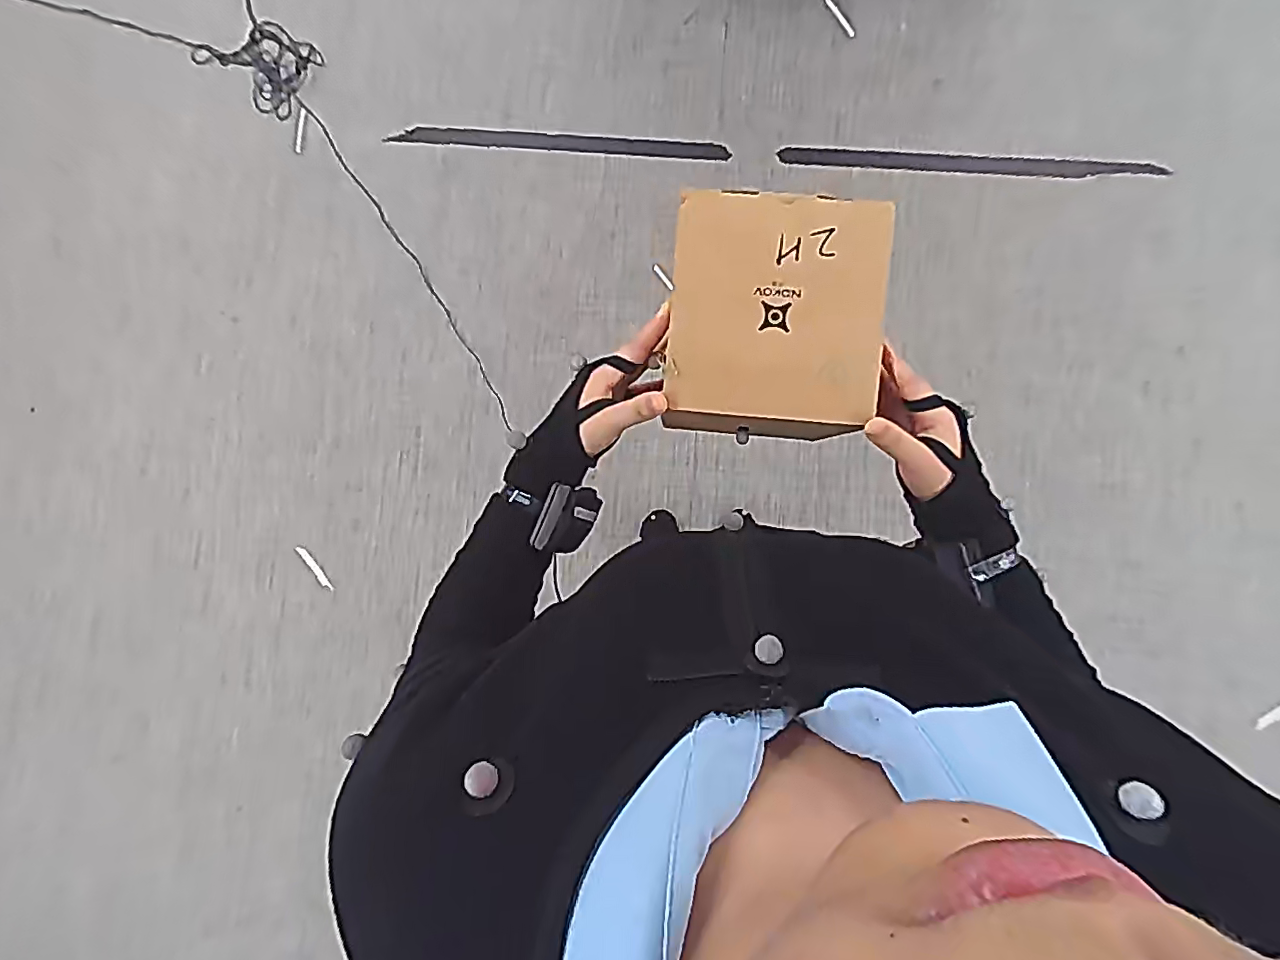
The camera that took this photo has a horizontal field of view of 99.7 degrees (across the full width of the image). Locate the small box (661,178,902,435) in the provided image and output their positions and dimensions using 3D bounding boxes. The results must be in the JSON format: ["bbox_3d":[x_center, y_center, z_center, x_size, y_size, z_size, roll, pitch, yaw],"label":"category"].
[{"bbox_3d":[0.112,-0.138,0.490,0.168,0.176,0.179,6,90,3],"label":"small box"}]
